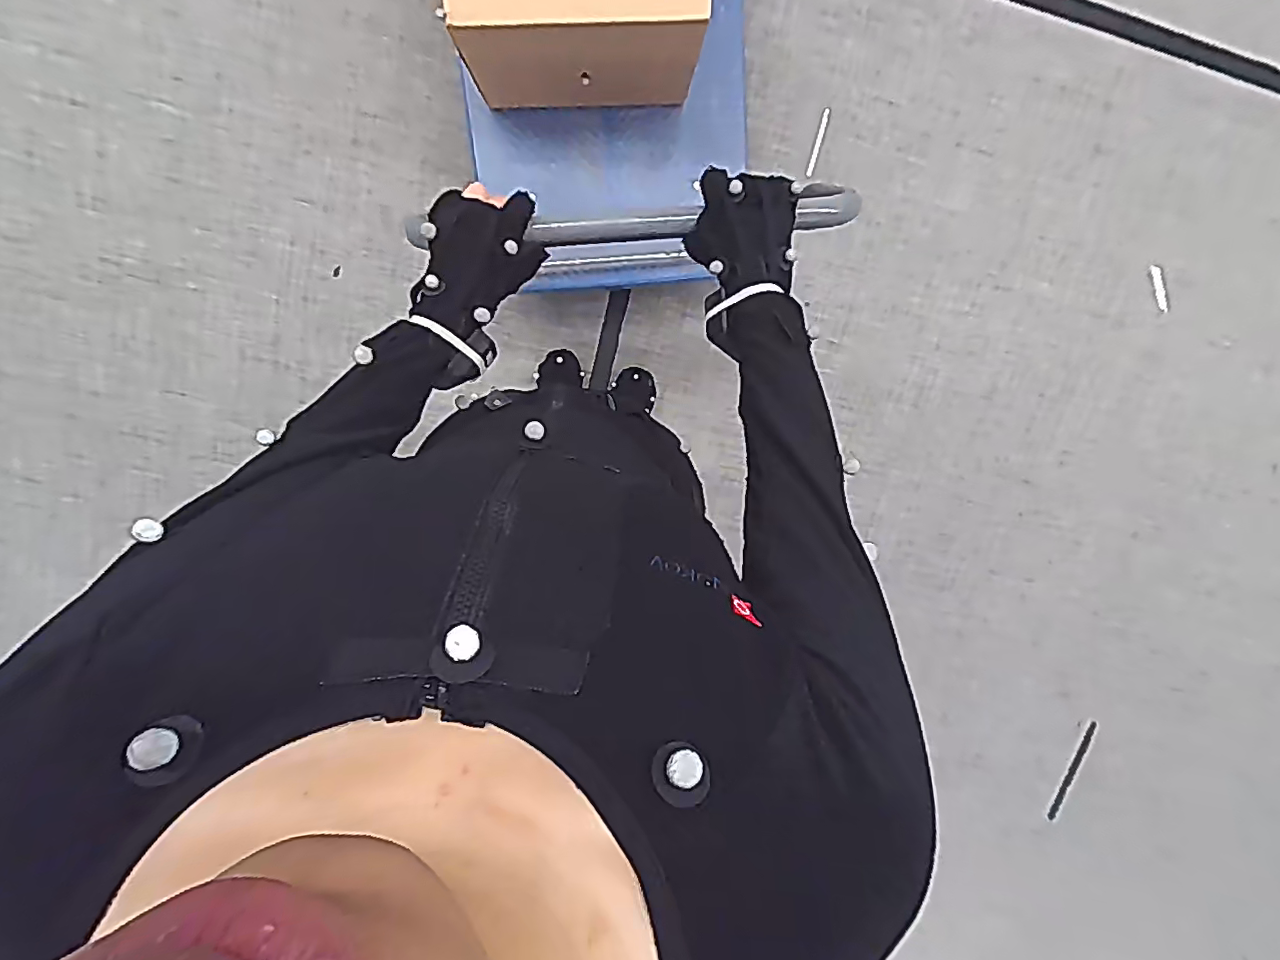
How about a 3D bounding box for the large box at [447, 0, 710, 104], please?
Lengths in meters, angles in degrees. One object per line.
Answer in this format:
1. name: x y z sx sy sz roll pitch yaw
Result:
1. large box: -0.103 -0.884 0.927 0.408 0.320 0.320 -3 105 -2
